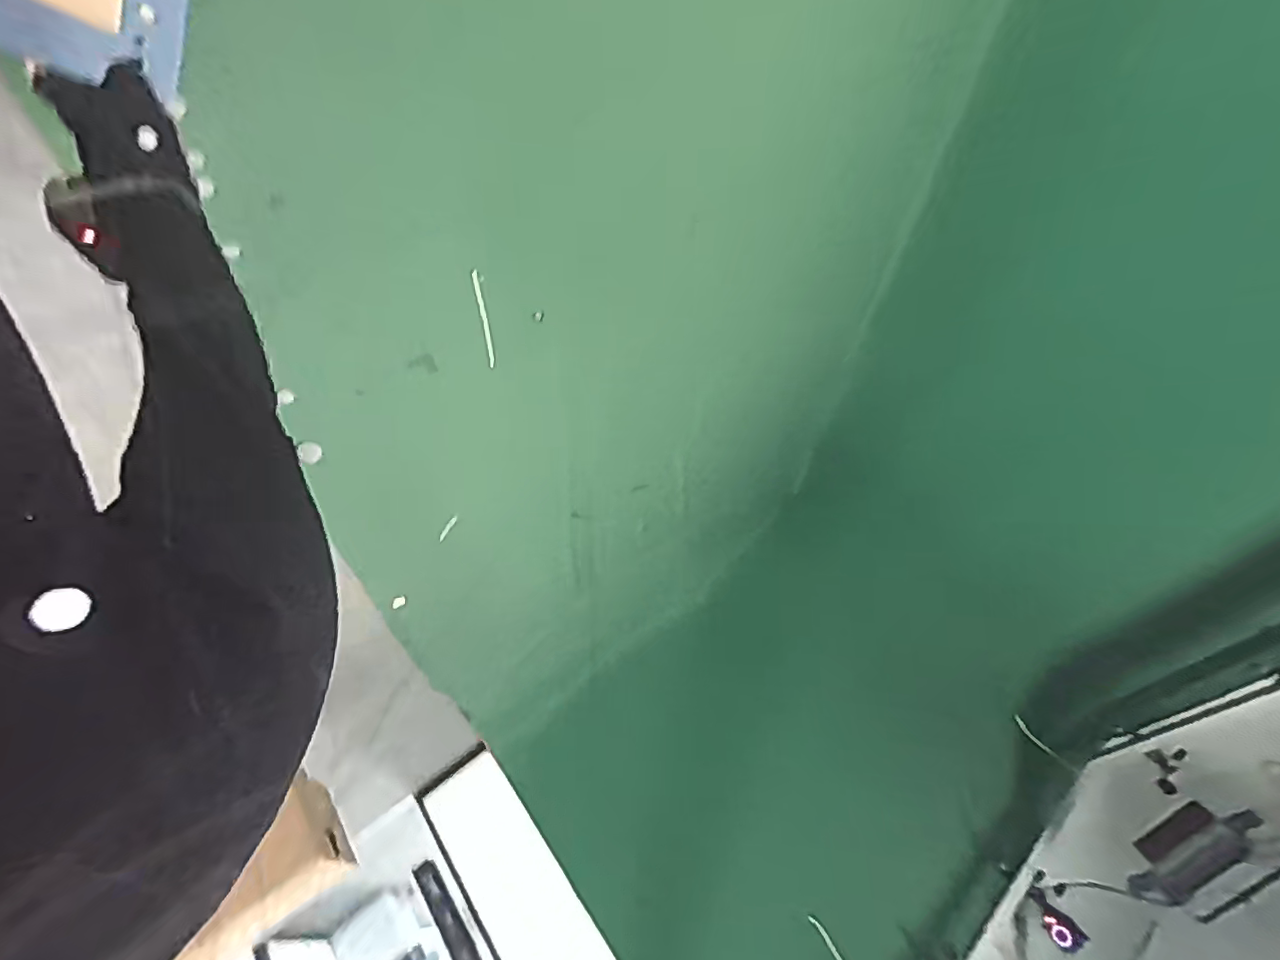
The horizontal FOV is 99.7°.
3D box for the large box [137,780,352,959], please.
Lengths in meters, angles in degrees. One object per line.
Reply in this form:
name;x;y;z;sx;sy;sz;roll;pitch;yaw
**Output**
large box;-1.193;1.211;1.664;0.408;0.320;0.320;-31;150;-27
